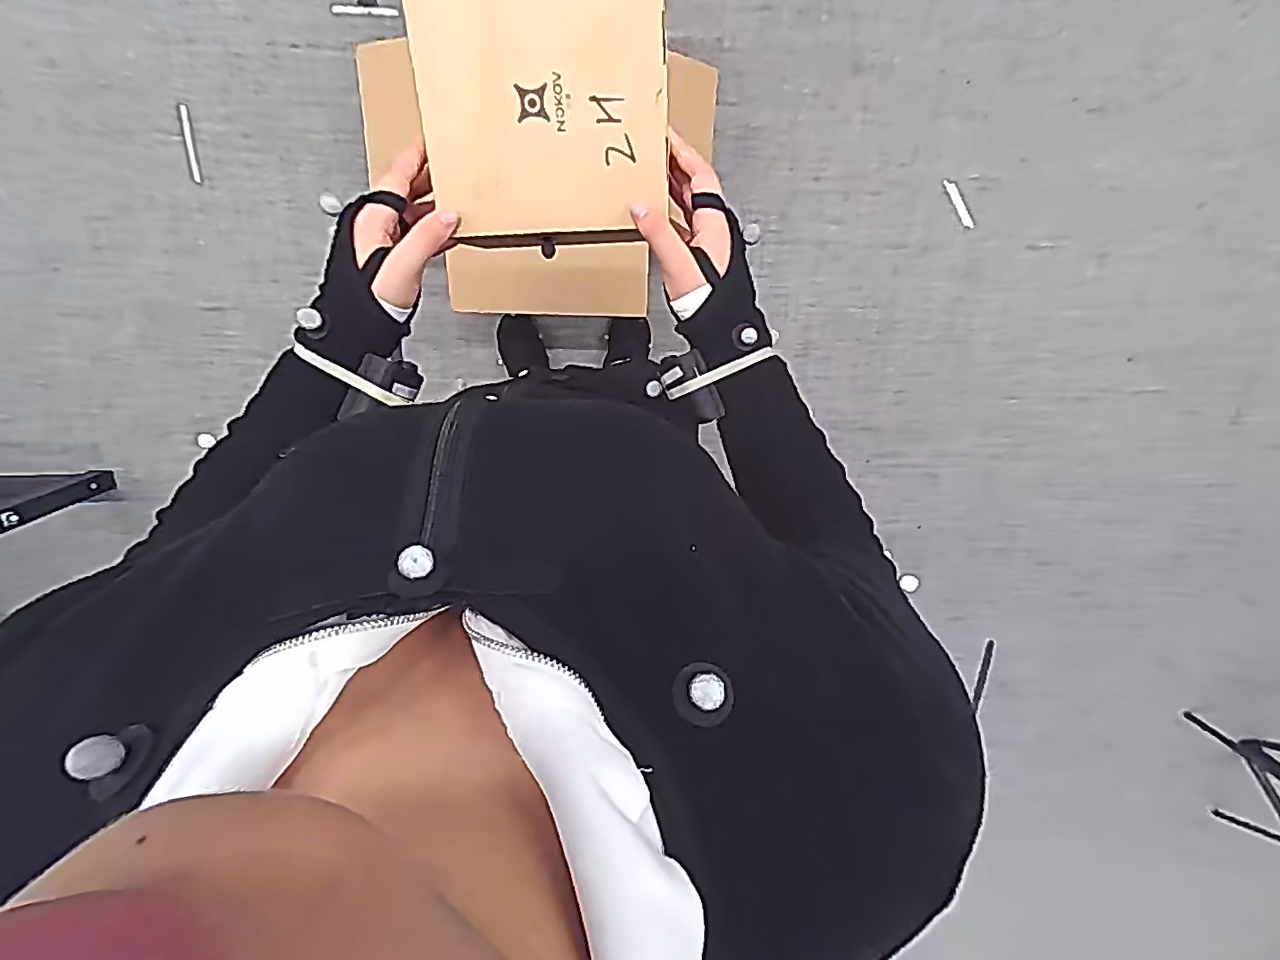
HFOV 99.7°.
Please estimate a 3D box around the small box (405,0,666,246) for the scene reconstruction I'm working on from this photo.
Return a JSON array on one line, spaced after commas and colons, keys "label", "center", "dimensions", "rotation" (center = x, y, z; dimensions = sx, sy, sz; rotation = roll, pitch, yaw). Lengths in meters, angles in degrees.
[{"label": "small box", "center": [-0.074, -0.296, 0.462], "dimensions": [0.179, 0.176, 0.168], "rotation": [-4, 111, -4]}]
